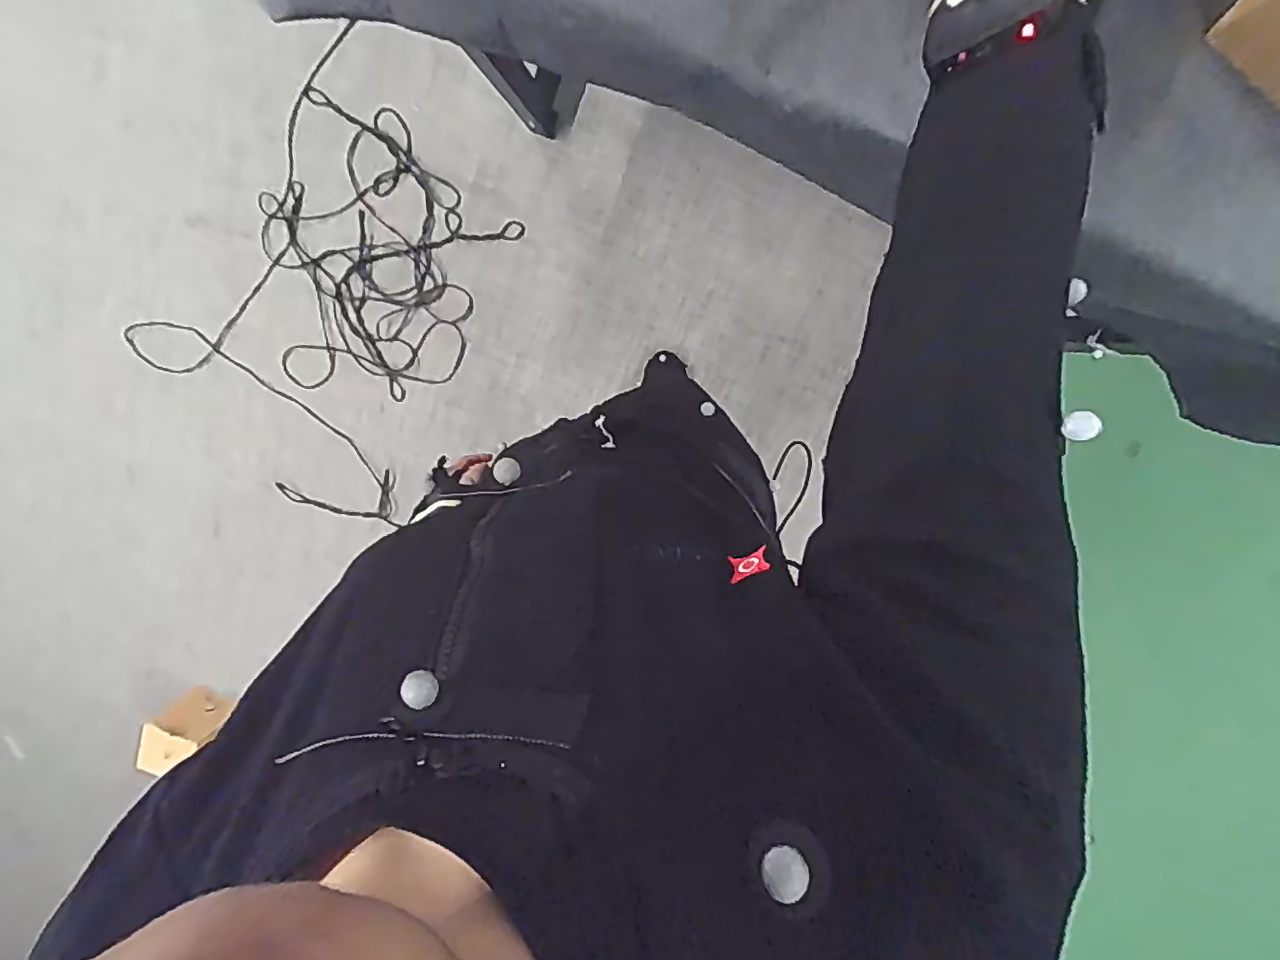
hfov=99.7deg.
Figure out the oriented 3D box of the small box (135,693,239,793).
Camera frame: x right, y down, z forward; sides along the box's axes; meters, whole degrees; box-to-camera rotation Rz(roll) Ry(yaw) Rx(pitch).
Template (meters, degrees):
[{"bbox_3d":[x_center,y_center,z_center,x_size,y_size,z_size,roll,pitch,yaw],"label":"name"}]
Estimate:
[{"bbox_3d":[-1.357,0.785,1.628,0.168,0.176,0.179,23,105,0],"label":"small box"}]
